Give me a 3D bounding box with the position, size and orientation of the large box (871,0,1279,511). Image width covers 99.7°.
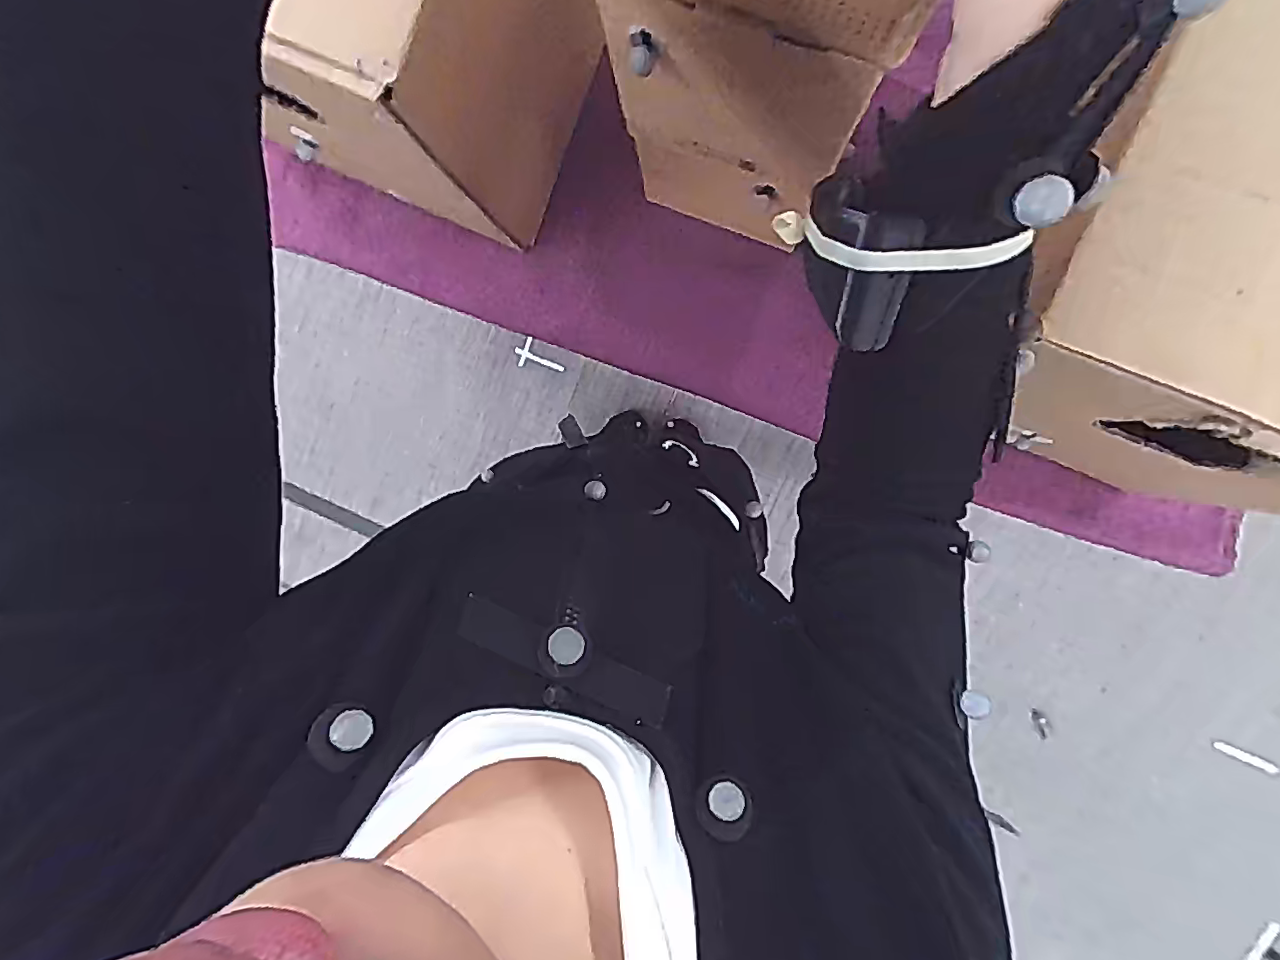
[{"bbox_3d":[0.444,-0.211,0.420,0.320,0.320,0.408,23,96,3],"label":"large box"}]

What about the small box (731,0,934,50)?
[{"bbox_3d":[0.079,-0.305,0.188,0.179,0.176,0.168,25,98,3],"label":"small box"}]
